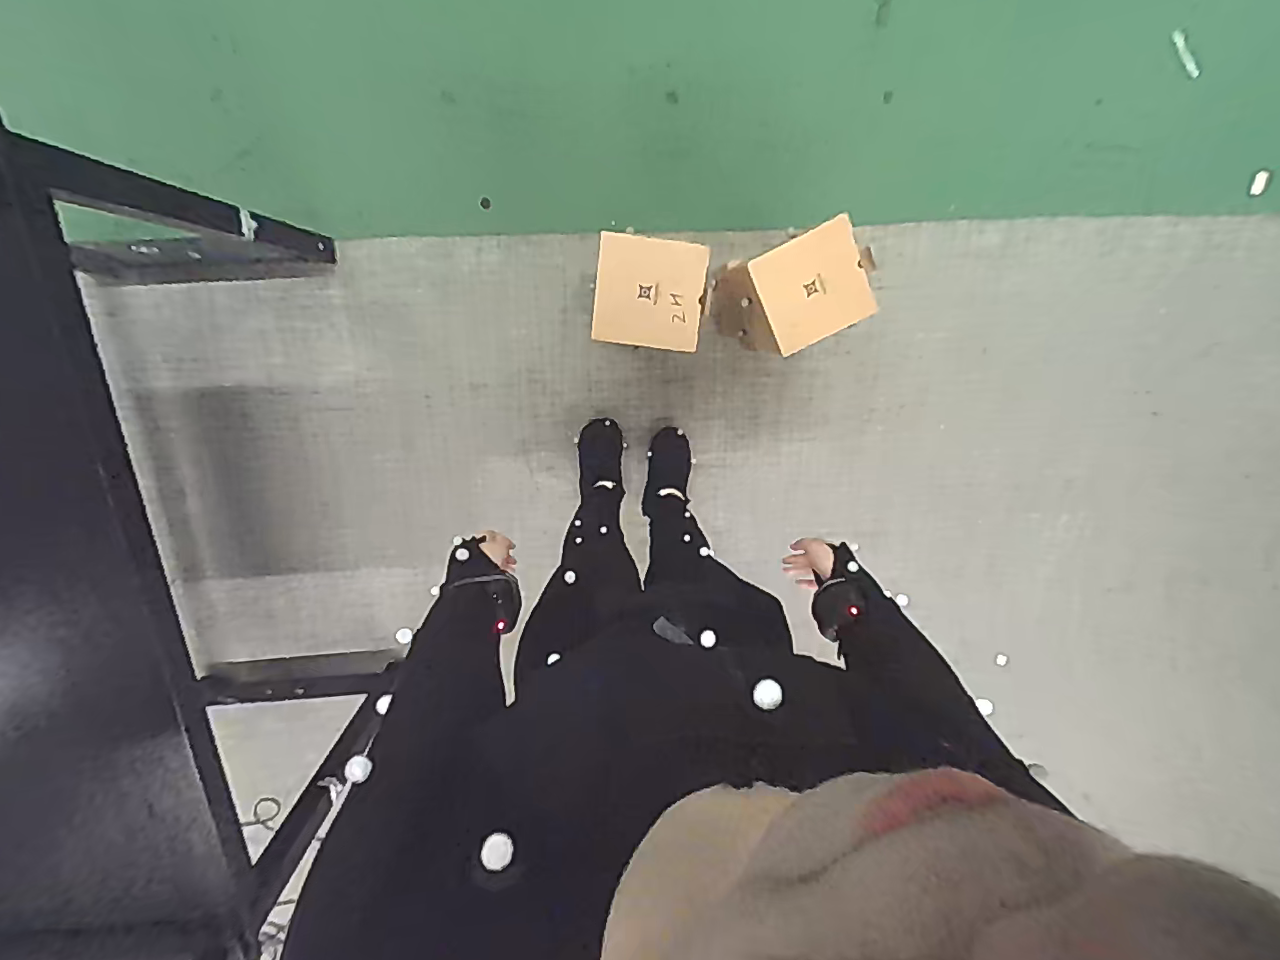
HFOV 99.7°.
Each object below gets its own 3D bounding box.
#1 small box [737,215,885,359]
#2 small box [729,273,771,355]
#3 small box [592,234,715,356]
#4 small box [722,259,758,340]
[{"bbox_3d":[0.280,-0.322,0.932,0.179,0.176,0.168,-27,106,4],"label":"small box"},{"bbox_3d":[0.289,-0.363,1.091,0.179,0.176,0.168,-22,107,3],"label":"small box"},{"bbox_3d":[0.018,-0.306,0.921,0.179,0.176,0.168,6,105,-4],"label":"small box"},{"bbox_3d":[0.290,-0.416,1.244,0.179,0.176,0.168,-10,106,-1],"label":"small box"}]
